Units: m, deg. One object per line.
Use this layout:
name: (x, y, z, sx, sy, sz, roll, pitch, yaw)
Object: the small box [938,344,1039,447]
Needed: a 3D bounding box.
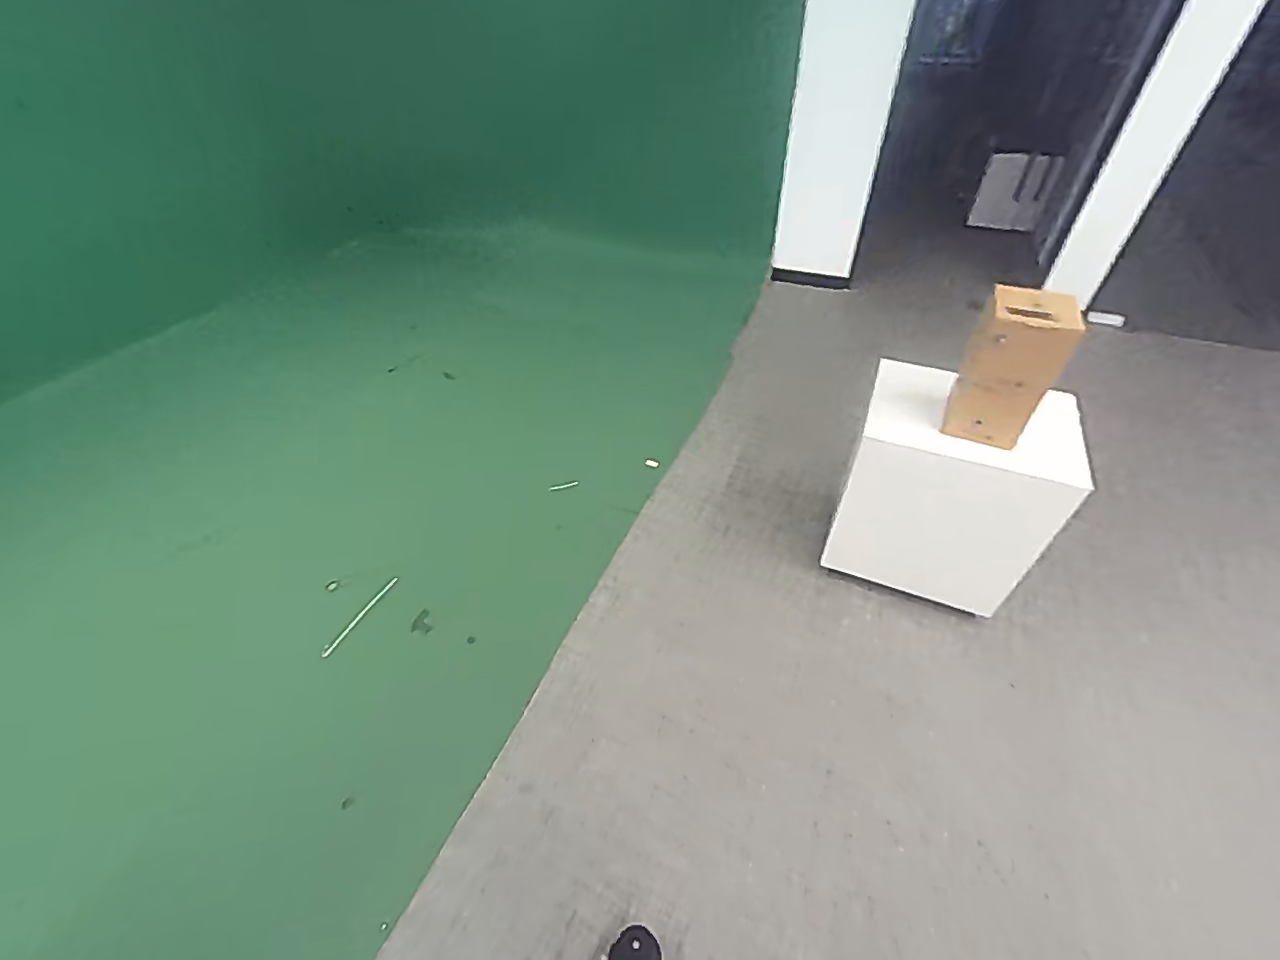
small box: (0.870, -0.212, 1.360, 0.168, 0.176, 0.179, 18, 47, 20)
